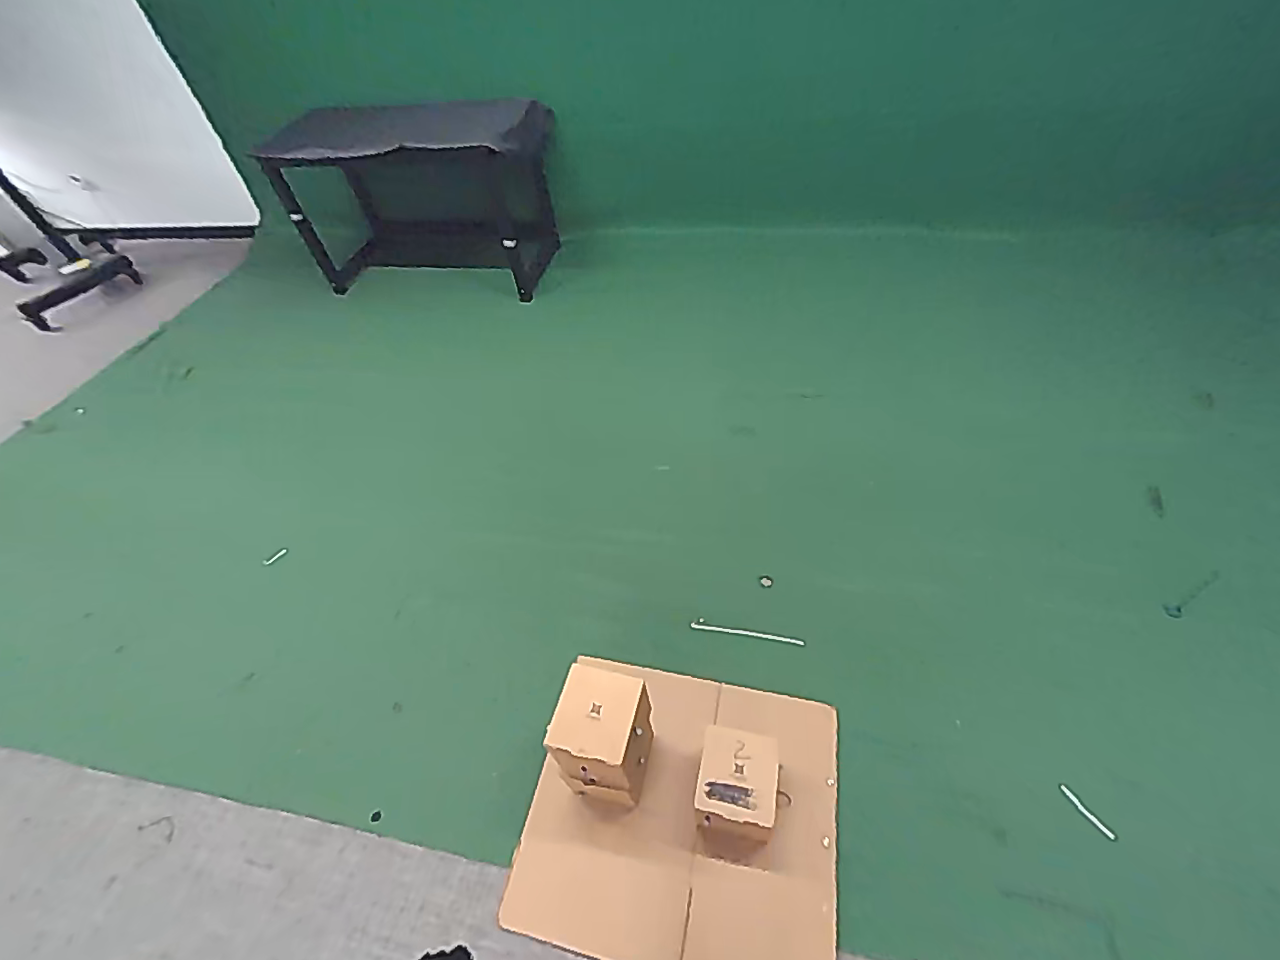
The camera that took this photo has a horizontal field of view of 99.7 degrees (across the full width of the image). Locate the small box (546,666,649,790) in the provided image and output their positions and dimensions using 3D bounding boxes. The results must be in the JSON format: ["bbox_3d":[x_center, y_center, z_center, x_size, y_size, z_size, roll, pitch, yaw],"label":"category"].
[{"bbox_3d":[-0.081,0.531,1.157,0.168,0.176,0.179,9,50,15],"label":"small box"}]

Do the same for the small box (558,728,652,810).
[{"bbox_3d":[-0.073,0.648,1.271,0.168,0.176,0.179,7,49,15],"label":"small box"}]
